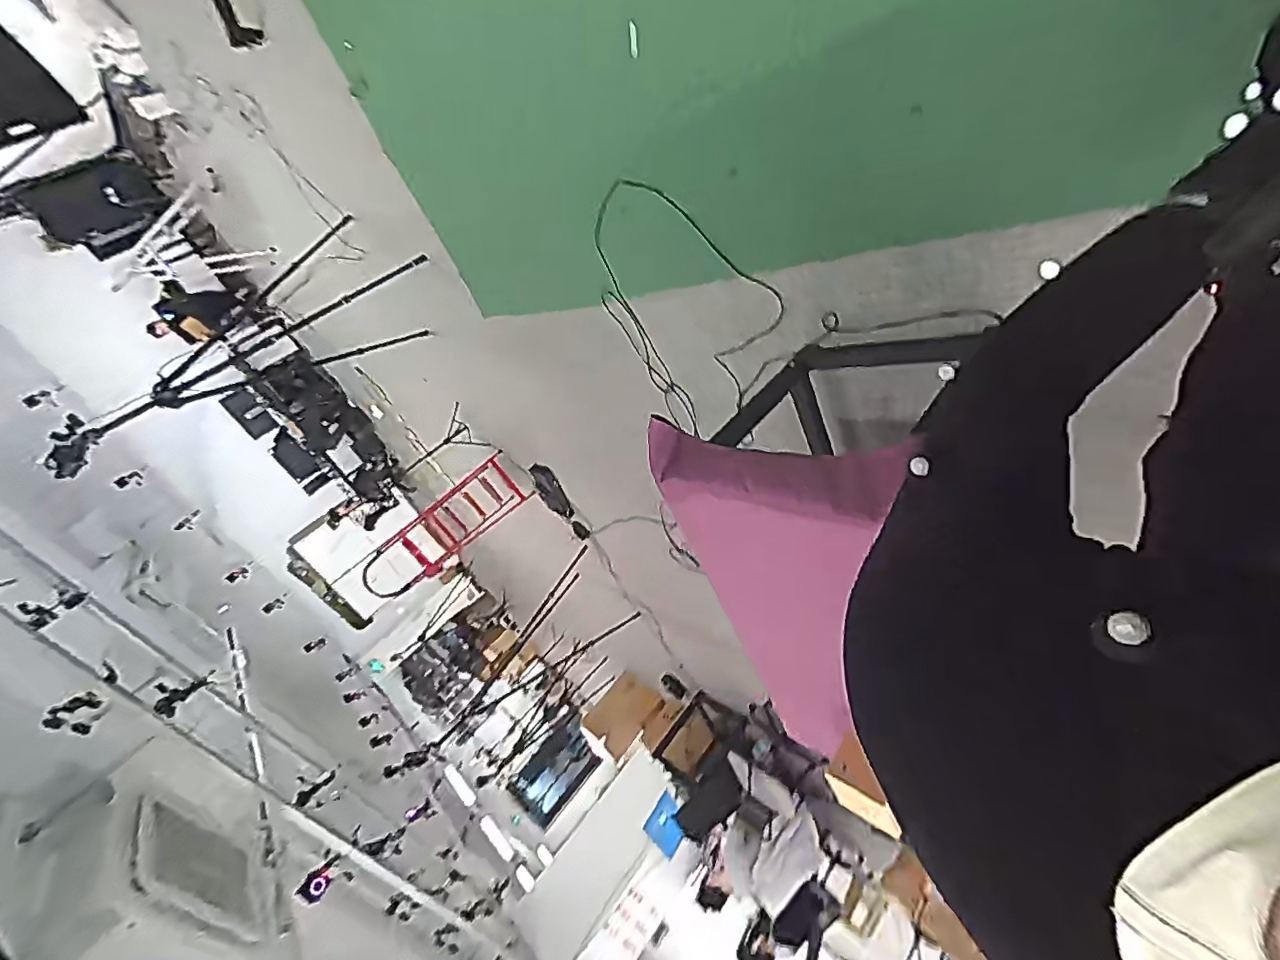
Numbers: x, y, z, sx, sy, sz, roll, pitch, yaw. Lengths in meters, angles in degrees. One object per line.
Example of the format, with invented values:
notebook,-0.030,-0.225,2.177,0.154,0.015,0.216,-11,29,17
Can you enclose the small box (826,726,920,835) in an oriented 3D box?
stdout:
small box,0.652,0.823,1.497,0.179,0.176,0.168,11,137,51
